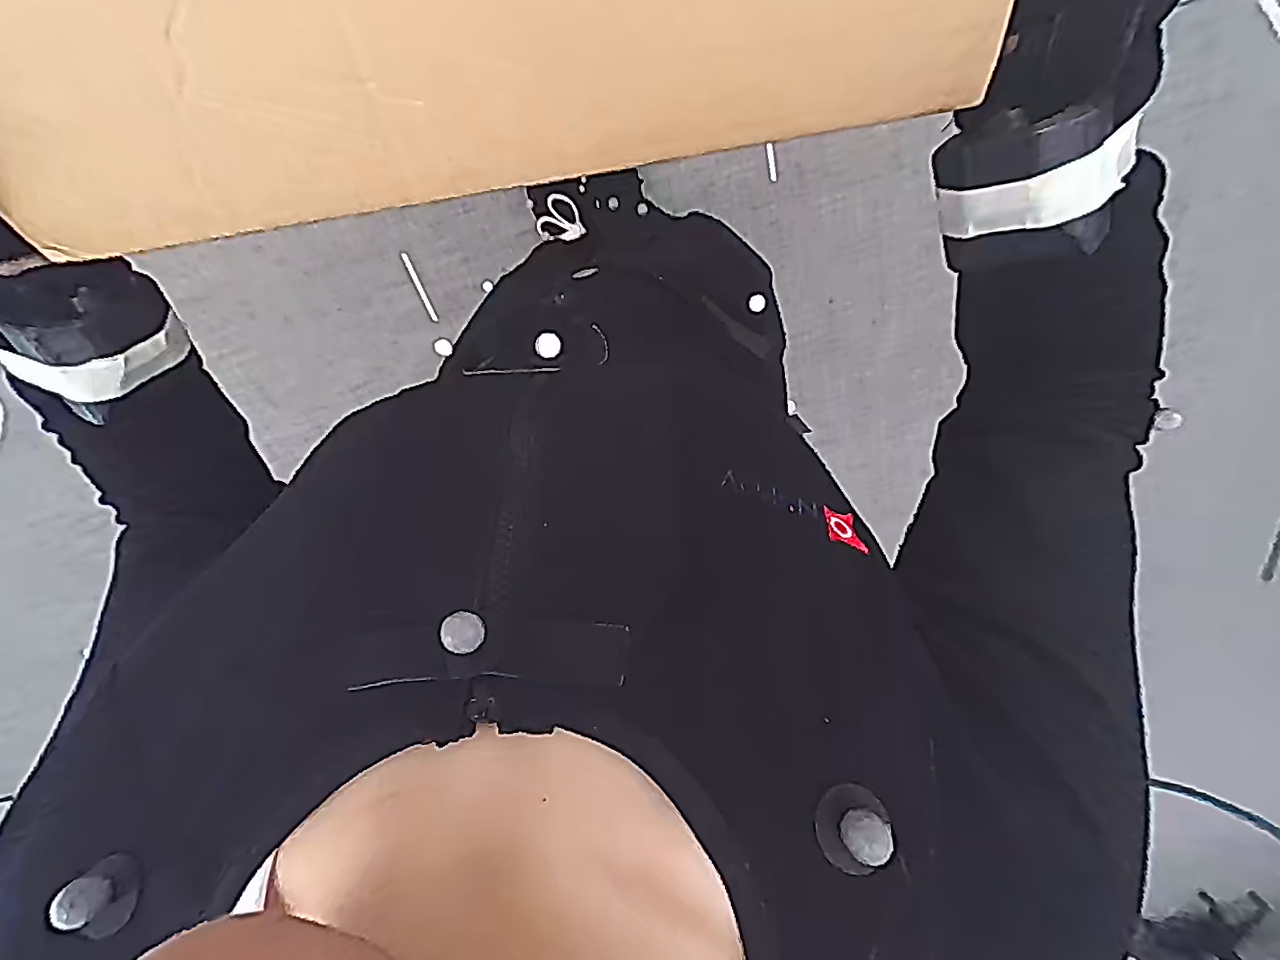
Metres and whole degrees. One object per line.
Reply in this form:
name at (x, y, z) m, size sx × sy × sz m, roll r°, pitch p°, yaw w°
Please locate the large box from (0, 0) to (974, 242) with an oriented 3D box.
large box at (-0.093, -0.348, 0.221) m, size 0.408 × 0.320 × 0.320 m, roll -8°, pitch 138°, yaw 2°
